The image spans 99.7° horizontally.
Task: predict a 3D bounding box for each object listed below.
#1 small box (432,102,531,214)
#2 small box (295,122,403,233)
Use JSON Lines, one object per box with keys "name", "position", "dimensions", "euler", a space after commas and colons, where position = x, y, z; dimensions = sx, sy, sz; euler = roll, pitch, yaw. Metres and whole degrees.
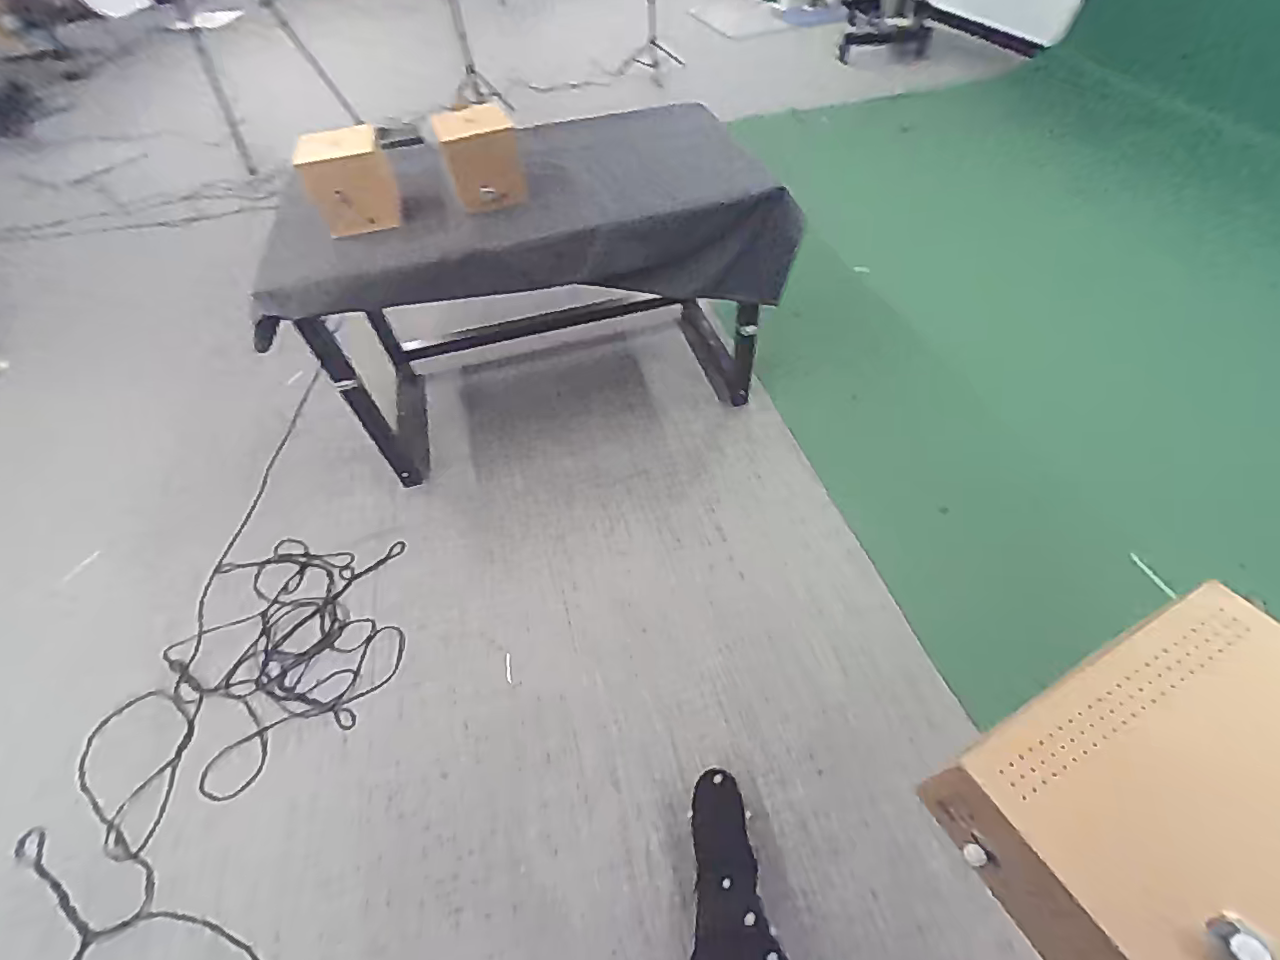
{"name": "small box", "position": [-0.375, -0.766, 1.289], "dimensions": [0.168, 0.176, 0.179], "euler": [-21, 54, -11]}
{"name": "small box", "position": [-0.663, -0.693, 1.253], "dimensions": [0.168, 0.176, 0.179], "euler": [-16, 52, -8]}
